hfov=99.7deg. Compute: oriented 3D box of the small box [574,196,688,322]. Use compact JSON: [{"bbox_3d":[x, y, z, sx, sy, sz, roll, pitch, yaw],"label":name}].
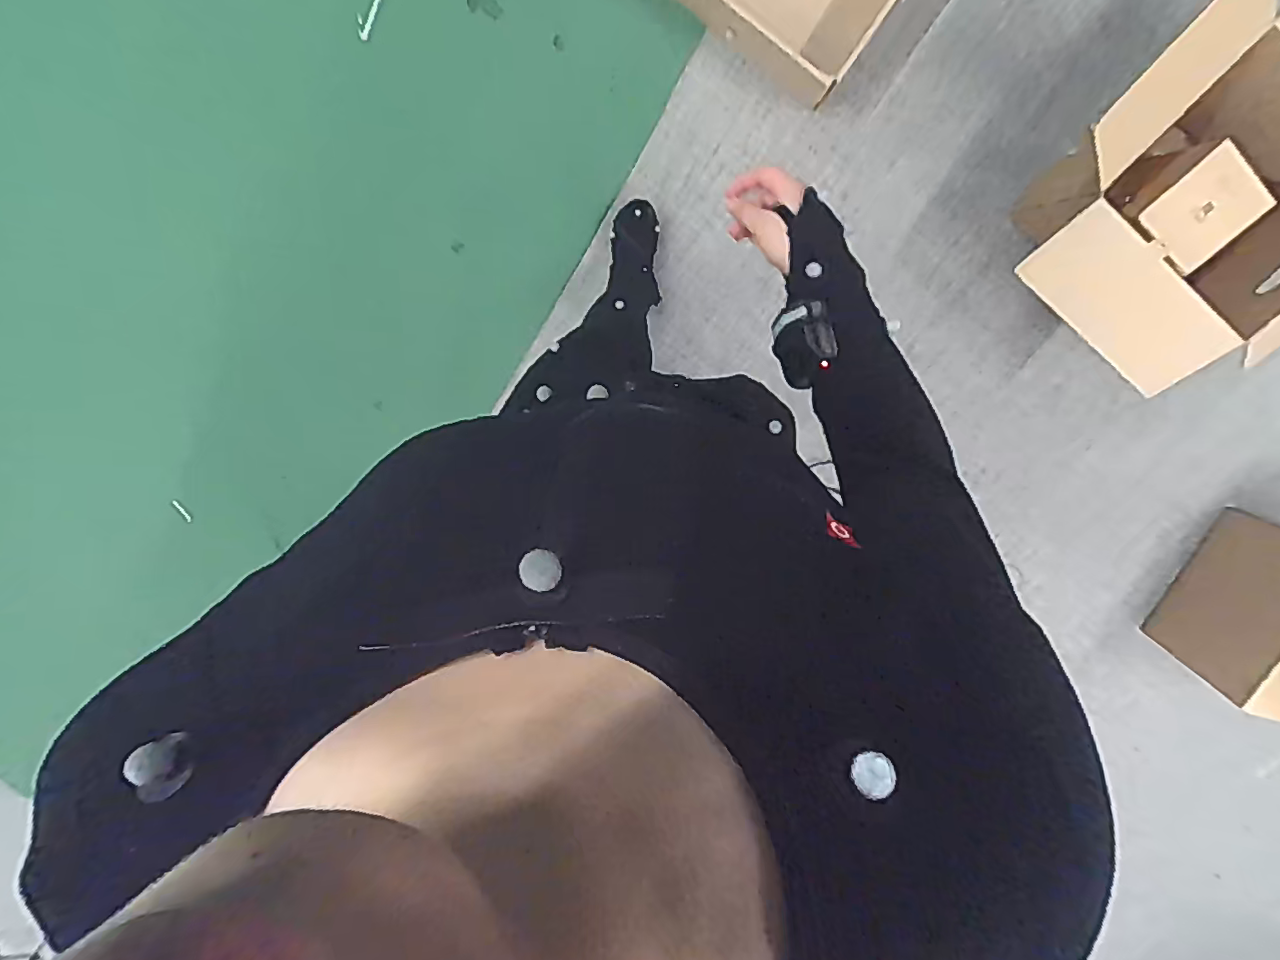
[{"bbox_3d":[-0.011,-0.494,1.217,0.179,0.168,0.176,-40,139,0],"label":"small box"}]
